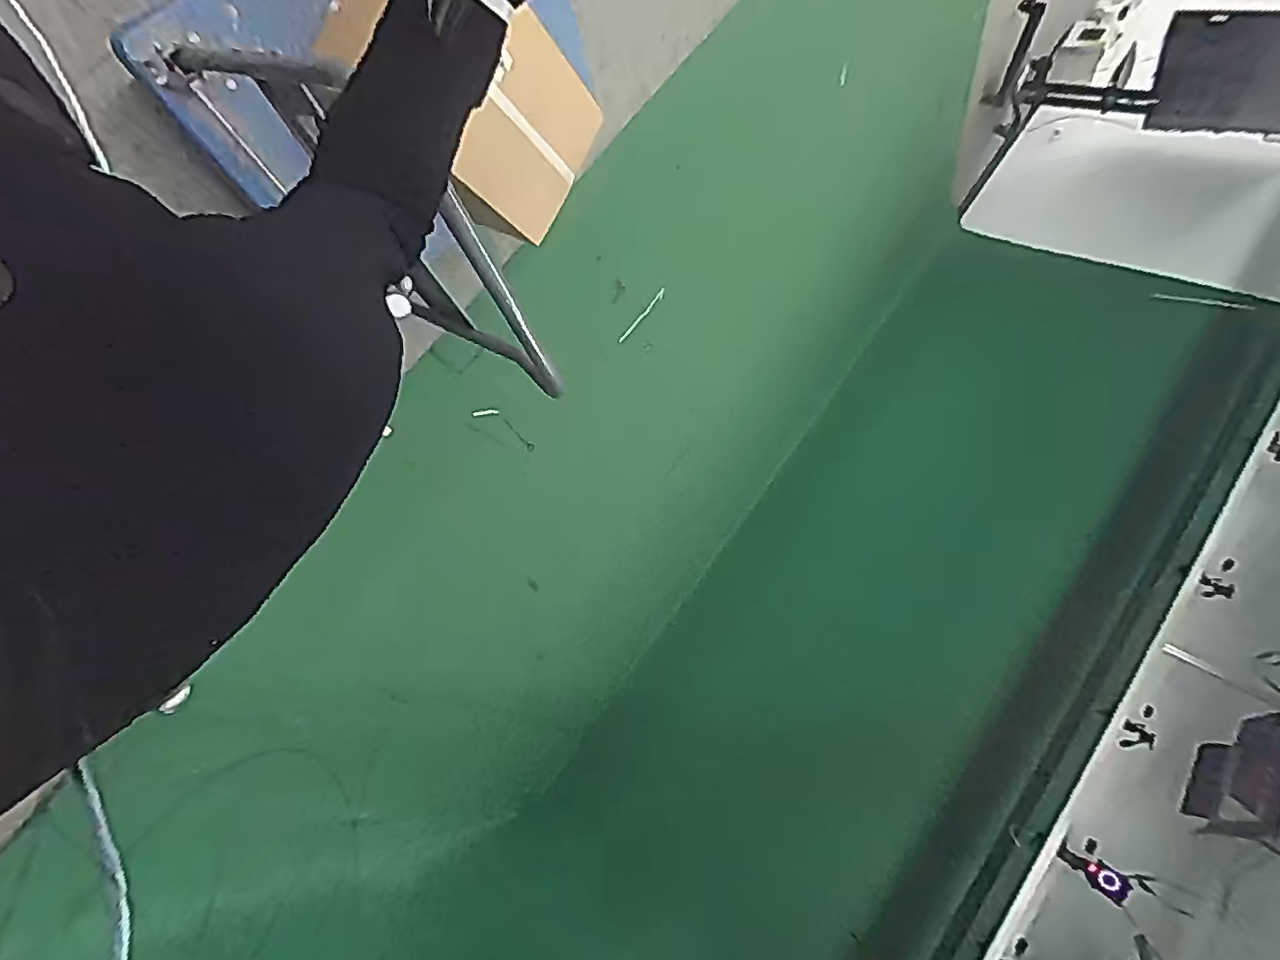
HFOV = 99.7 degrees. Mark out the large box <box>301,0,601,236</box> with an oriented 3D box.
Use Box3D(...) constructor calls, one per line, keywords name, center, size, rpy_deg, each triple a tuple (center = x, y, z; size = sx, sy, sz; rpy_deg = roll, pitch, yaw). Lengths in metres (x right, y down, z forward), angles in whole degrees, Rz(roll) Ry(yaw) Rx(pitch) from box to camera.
Box3D(name="large box", center=(-0.359, -0.770, 1.083), size=(0.320, 0.320, 0.408), rpy_deg=(-60, 149, 5))
